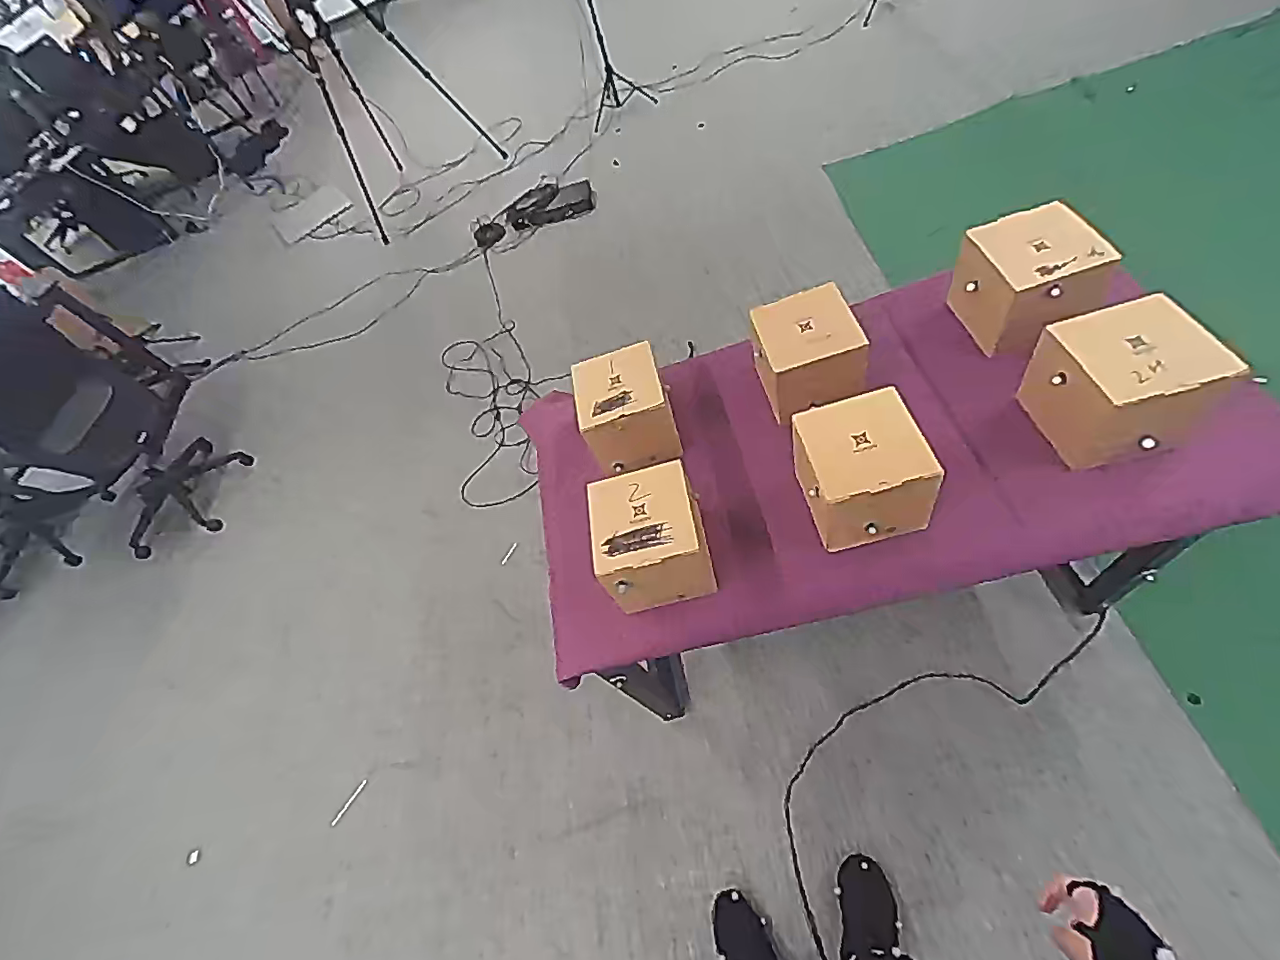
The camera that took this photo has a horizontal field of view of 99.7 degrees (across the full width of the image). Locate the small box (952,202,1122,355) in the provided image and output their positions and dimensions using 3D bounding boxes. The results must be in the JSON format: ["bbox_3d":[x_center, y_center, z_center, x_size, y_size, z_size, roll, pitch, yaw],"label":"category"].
[{"bbox_3d":[0.700,-0.361,0.984,0.168,0.176,0.179,-17,55,9],"label":"small box"}]

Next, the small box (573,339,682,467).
[{"bbox_3d":[-0.022,-0.144,1.087,0.168,0.176,0.179,-16,55,7],"label":"small box"}]

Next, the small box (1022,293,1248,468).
[{"bbox_3d":[0.734,-0.148,0.834,0.168,0.176,0.179,-15,54,10],"label":"small box"}]

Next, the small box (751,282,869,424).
[{"bbox_3d":[0.320,-0.239,1.036,0.168,0.176,0.179,-16,56,9],"label":"small box"}]
